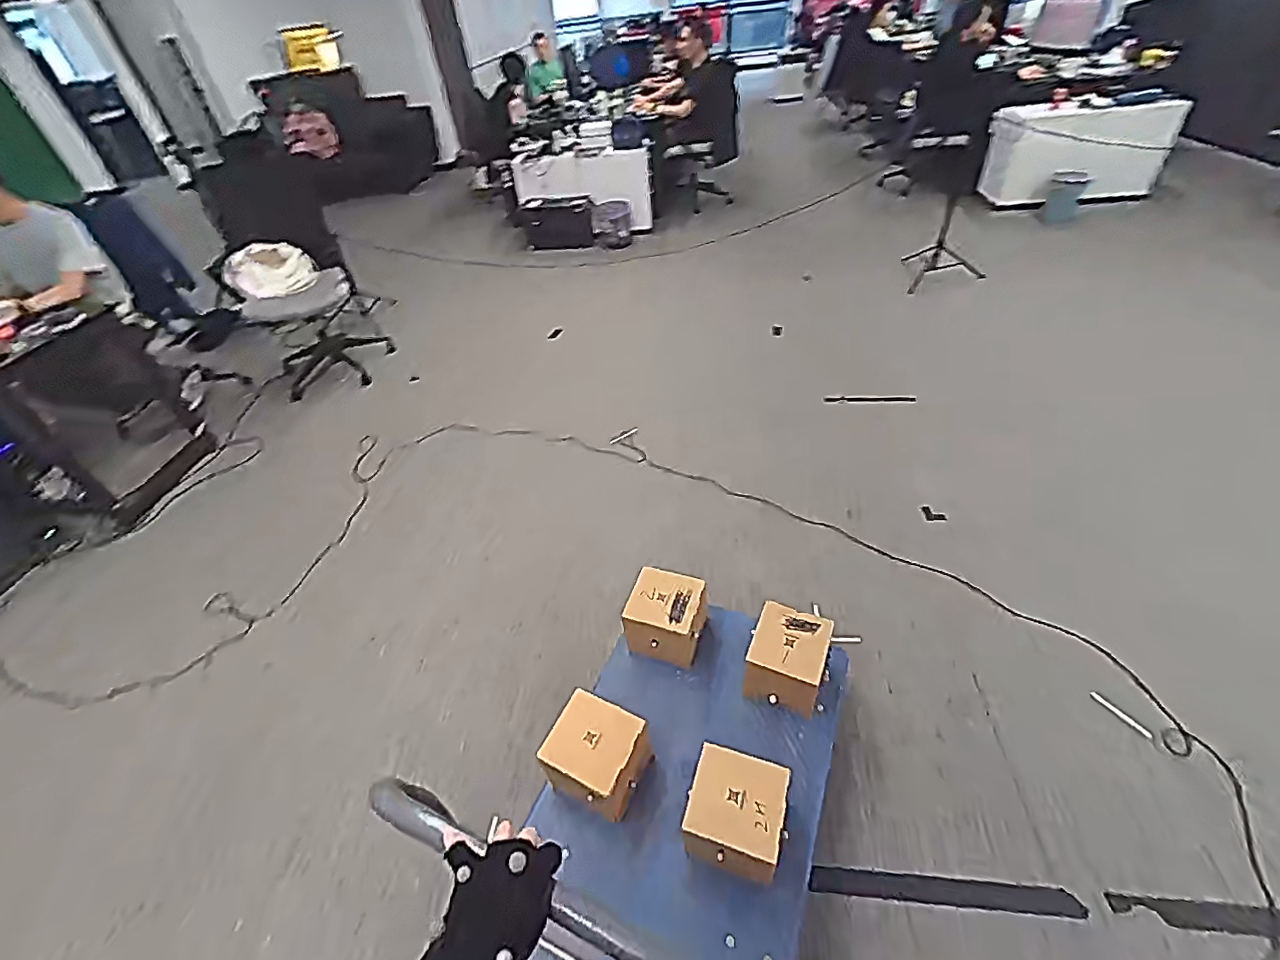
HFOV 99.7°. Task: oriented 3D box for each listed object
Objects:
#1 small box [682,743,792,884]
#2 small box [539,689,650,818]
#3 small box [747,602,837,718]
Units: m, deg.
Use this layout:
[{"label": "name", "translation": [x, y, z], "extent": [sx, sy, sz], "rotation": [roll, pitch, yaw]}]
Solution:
[{"label": "small box", "translation": [0.192, 0.660, 1.068], "extent": [0.179, 0.176, 0.168], "rotation": [11, 45, 19]}, {"label": "small box", "translation": [-0.090, 0.597, 1.177], "extent": [0.179, 0.176, 0.168], "rotation": [17, 47, 22]}, {"label": "small box", "translation": [0.359, 0.432, 1.298], "extent": [0.168, 0.176, 0.179], "rotation": [15, 48, 22]}]
